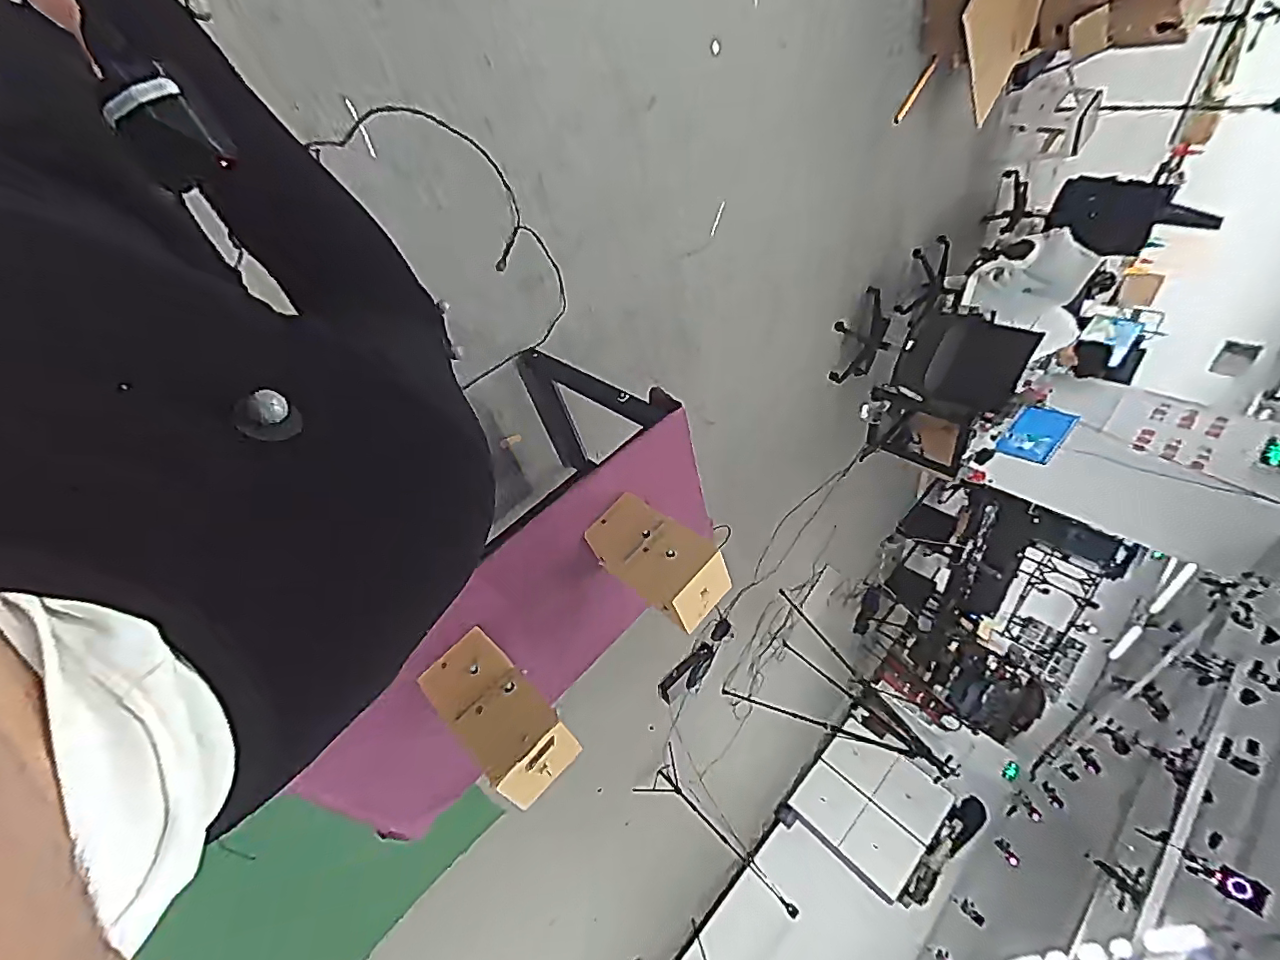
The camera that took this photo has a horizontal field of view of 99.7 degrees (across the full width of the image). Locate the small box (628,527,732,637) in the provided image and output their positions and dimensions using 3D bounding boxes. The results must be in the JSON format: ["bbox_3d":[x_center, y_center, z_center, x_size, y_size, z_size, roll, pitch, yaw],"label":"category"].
[{"bbox_3d":[0.095,0.238,1.304,0.168,0.176,0.179,-44,140,-18],"label":"small box"}]

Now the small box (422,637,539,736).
[{"bbox_3d":[-0.360,0.487,1.232,0.168,0.176,0.179,-43,142,-21],"label":"small box"}]

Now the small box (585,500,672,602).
[{"bbox_3d":[-0.013,0.181,1.417,0.168,0.176,0.179,-46,141,-18],"label":"small box"}]

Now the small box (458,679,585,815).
[{"bbox_3d":[-0.247,0.549,1.129,0.168,0.176,0.179,-41,141,-23],"label":"small box"}]
